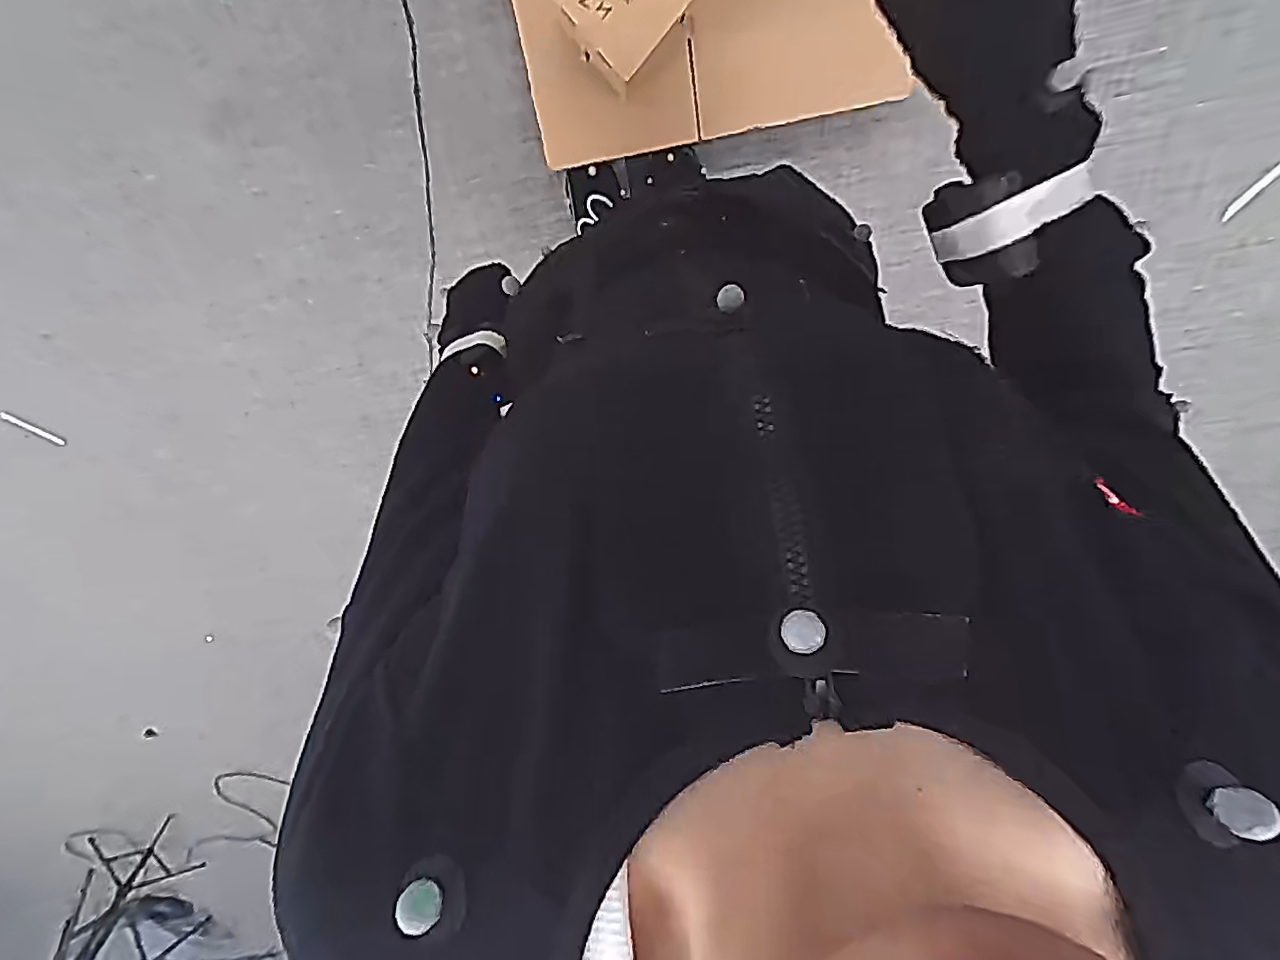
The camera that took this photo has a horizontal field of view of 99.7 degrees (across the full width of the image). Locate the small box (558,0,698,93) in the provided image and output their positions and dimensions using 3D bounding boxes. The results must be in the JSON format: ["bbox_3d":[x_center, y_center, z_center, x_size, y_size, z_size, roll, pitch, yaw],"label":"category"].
[{"bbox_3d":[-0.021,-0.767,0.865,0.168,0.176,0.179,41,110,-21],"label":"small box"}]
